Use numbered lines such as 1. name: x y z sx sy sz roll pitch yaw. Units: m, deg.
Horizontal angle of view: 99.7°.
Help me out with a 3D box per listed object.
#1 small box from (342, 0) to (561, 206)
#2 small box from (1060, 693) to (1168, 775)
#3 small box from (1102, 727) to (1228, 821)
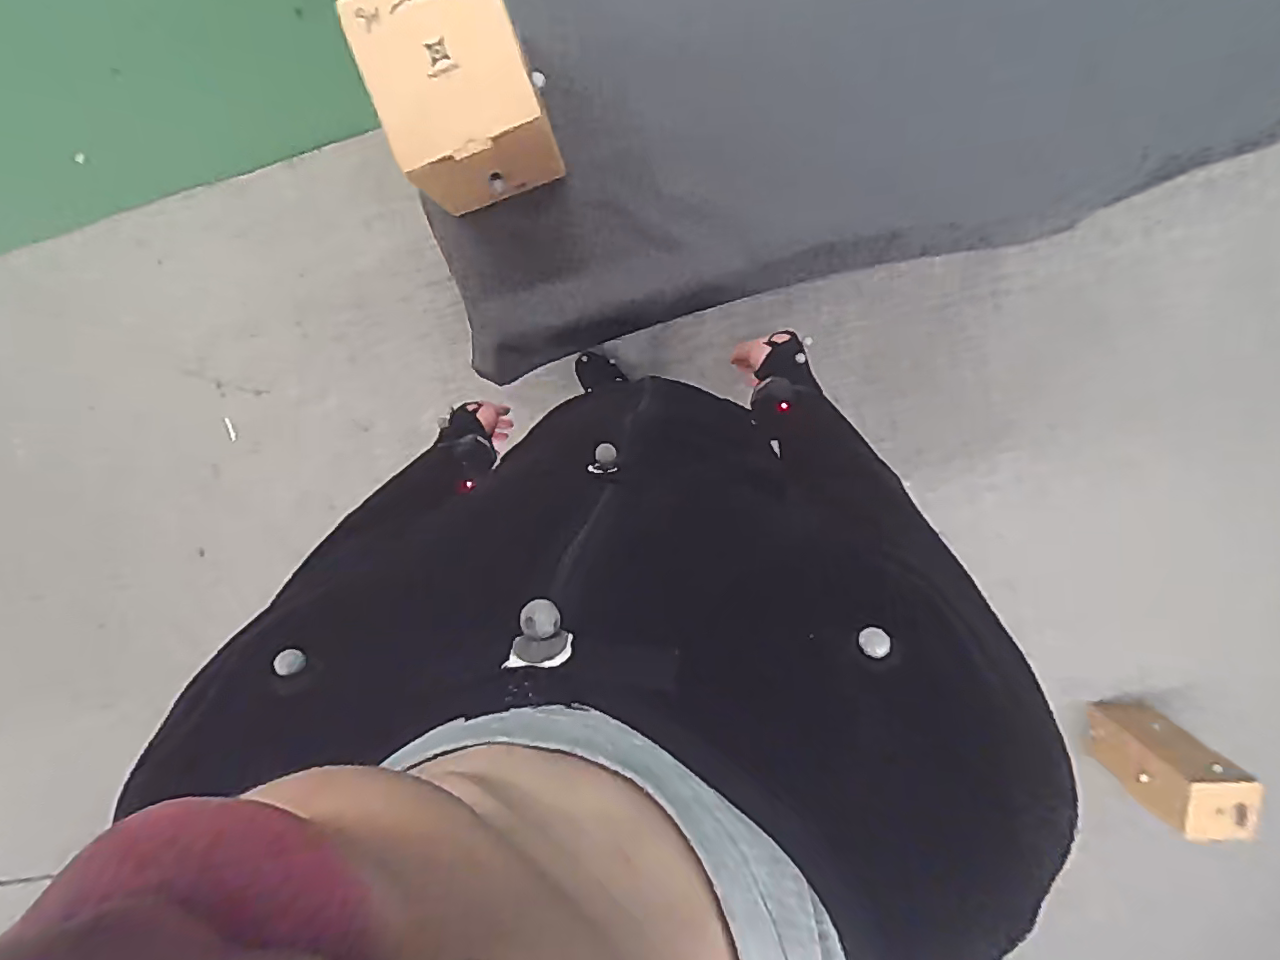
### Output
1. small box: -0.206 -0.452 0.648 0.168 0.176 0.179 -19 102 4
2. small box: 1.449 0.773 1.662 0.179 0.176 0.168 -3 101 2
3. small box: 1.449 0.808 1.501 0.179 0.176 0.168 -2 101 1
